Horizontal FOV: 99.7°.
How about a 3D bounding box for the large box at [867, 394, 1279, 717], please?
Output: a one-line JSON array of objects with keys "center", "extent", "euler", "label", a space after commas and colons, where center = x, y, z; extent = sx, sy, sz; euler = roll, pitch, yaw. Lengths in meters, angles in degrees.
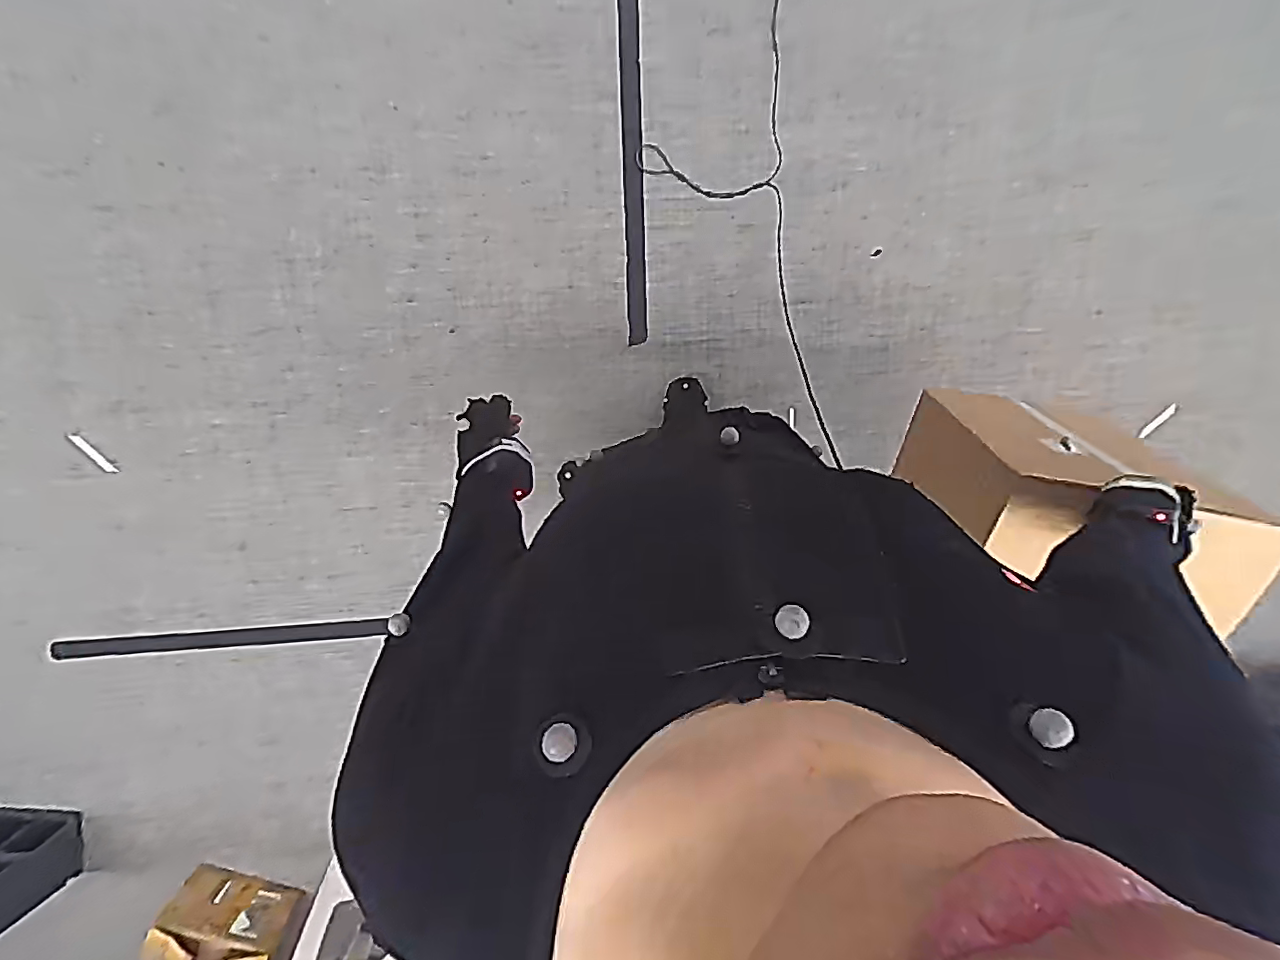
[{"center": [0.612, 0.090, 0.882], "extent": [0.320, 0.408, 0.320], "euler": [13, 117, 5], "label": "large box"}]
